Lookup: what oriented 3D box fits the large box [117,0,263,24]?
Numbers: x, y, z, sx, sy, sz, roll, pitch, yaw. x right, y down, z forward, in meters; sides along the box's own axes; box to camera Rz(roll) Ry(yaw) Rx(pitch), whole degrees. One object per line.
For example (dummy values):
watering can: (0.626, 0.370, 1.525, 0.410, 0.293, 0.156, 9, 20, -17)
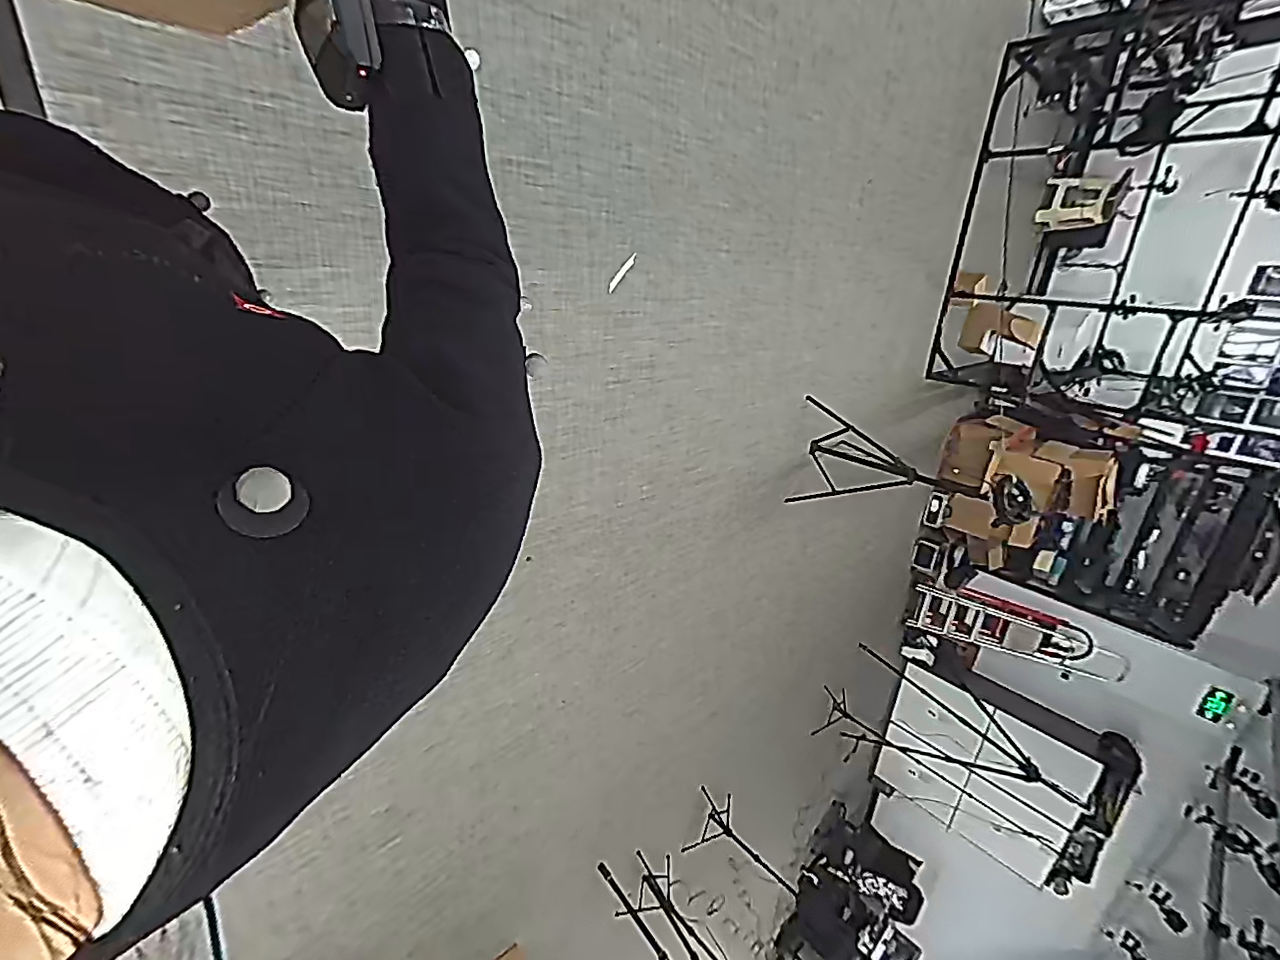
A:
large box: (-0.431, -0.463, 0.237, 0.408, 0.320, 0.320, -17, 128, -40)
